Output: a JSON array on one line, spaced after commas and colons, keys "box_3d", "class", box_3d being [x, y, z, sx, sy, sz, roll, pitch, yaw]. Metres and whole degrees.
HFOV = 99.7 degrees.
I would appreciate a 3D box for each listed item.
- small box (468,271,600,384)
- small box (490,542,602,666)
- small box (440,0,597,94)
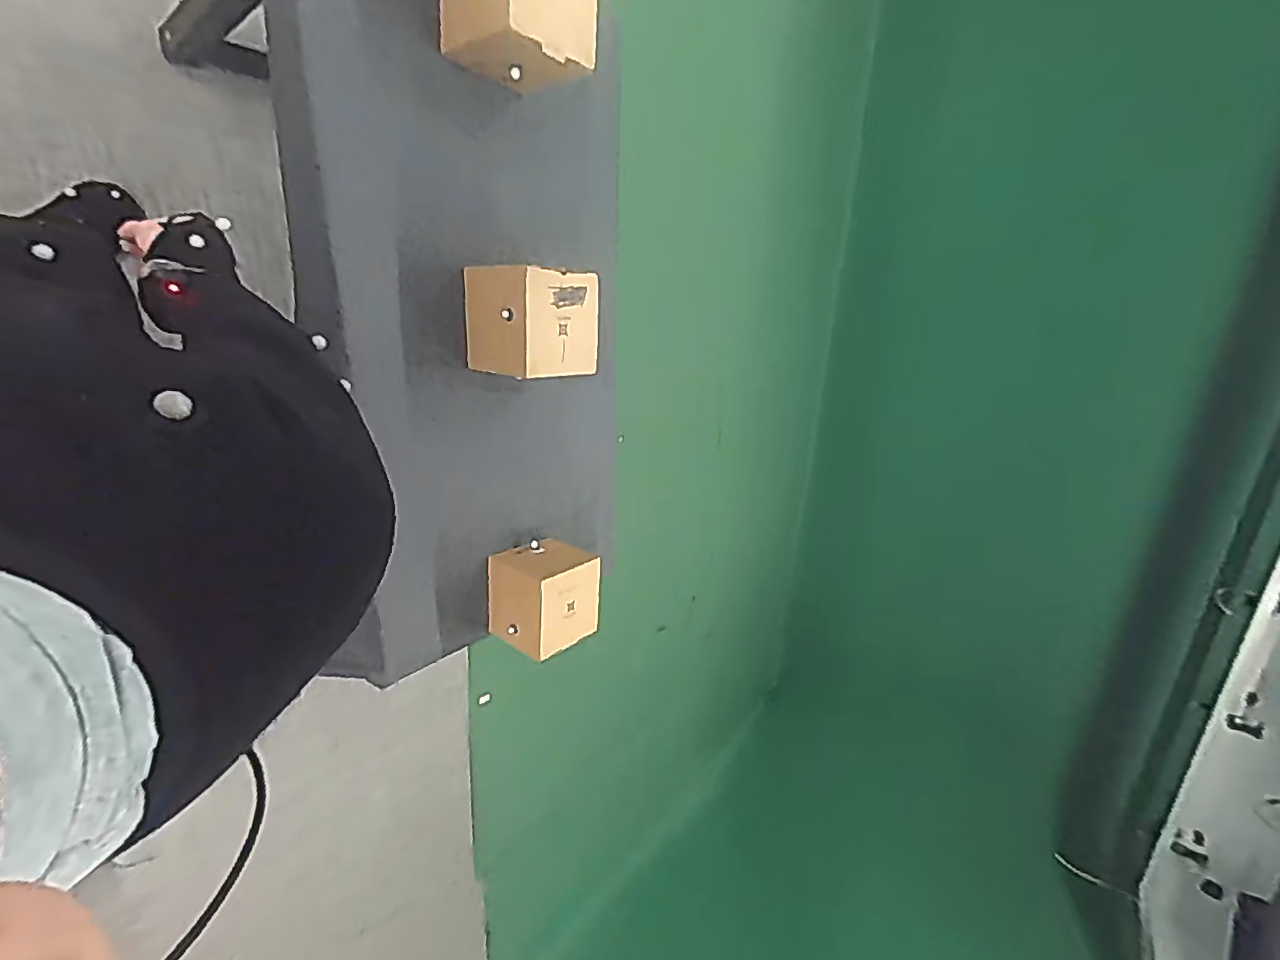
[{"box_3d": [-0.189, -0.272, 0.961, 0.168, 0.176, 0.179, -17, 117, -48], "class": "small box"}, {"box_3d": [-0.200, 0.251, 1.137, 0.168, 0.176, 0.179, -16, 114, -50], "class": "small box"}, {"box_3d": [-0.182, -0.714, 0.809, 0.168, 0.176, 0.179, -15, 116, -49], "class": "small box"}]
